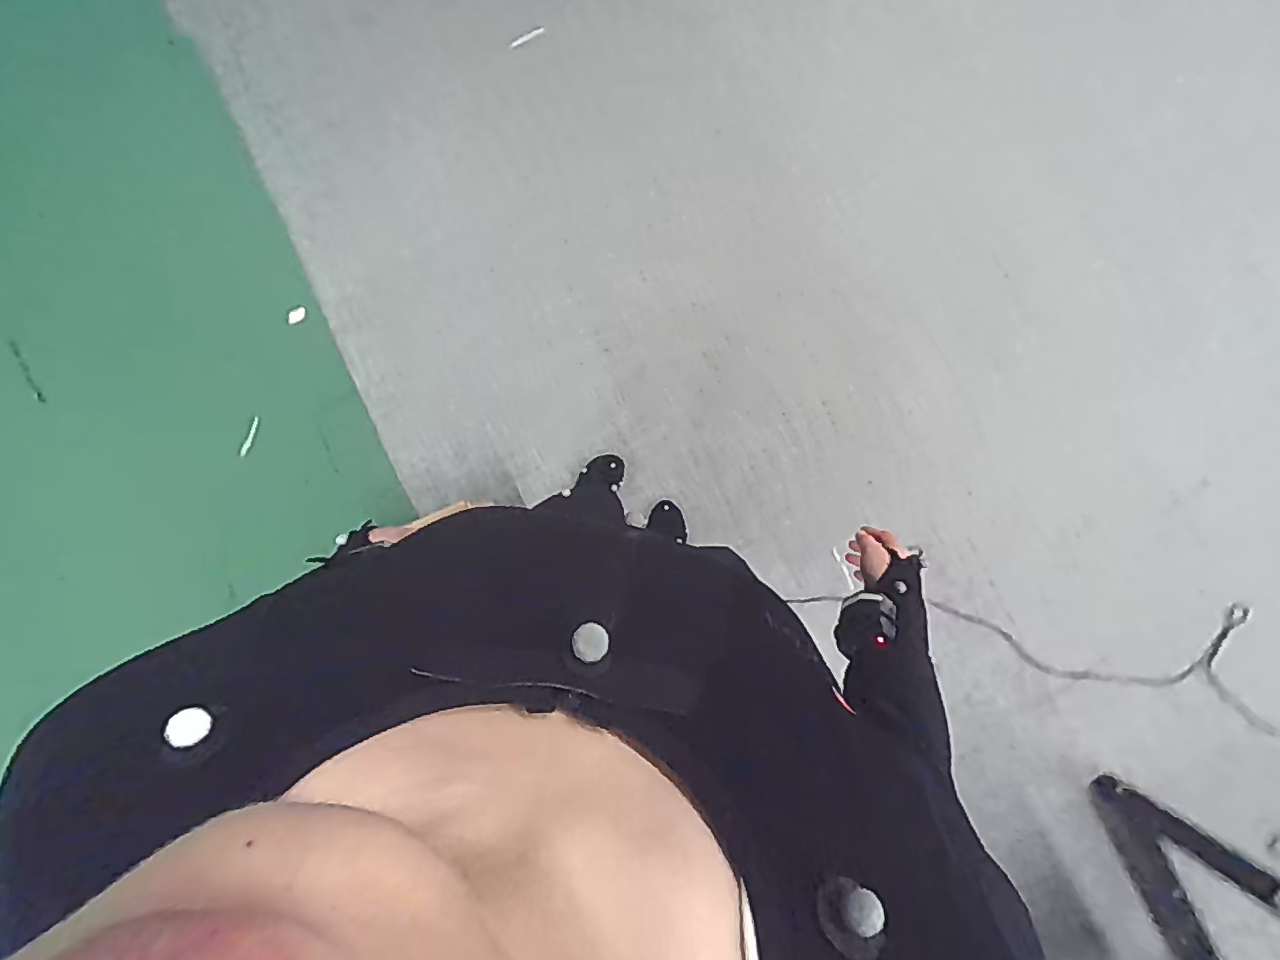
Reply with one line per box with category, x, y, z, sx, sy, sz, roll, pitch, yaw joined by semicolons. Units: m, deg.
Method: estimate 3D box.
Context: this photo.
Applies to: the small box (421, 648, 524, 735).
small box;-0.410;0.551;1.358;0.168;0.176;0.179;-24;89;0
